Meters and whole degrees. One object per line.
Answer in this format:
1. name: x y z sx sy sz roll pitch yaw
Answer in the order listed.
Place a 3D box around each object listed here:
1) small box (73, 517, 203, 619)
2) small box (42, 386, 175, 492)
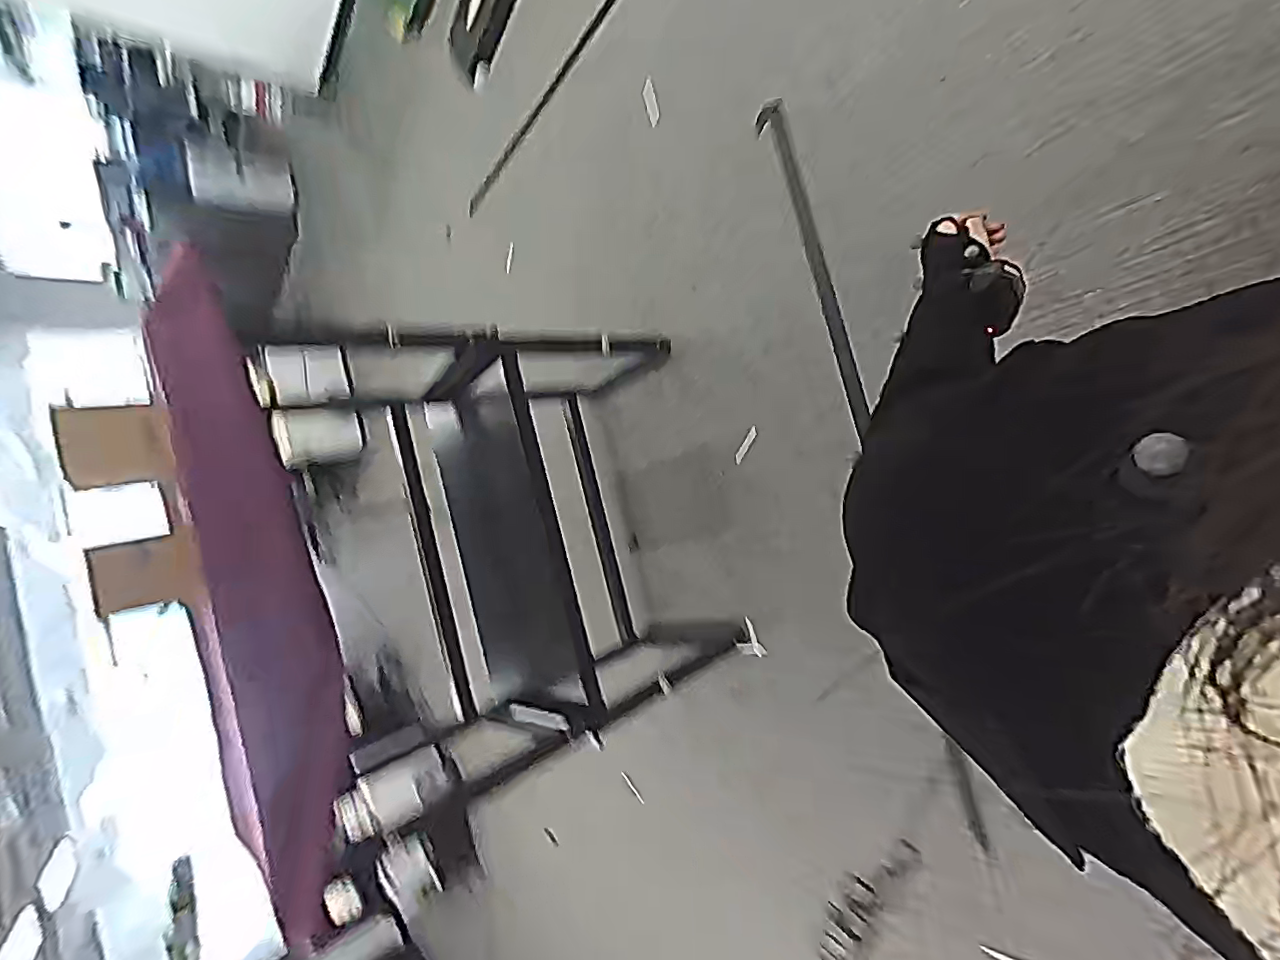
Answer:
1. small box: -1.041 0.179 1.129 0.168 0.176 0.179 -16 87 49
2. small box: -1.084 -0.086 1.114 0.168 0.176 0.179 -20 84 48
